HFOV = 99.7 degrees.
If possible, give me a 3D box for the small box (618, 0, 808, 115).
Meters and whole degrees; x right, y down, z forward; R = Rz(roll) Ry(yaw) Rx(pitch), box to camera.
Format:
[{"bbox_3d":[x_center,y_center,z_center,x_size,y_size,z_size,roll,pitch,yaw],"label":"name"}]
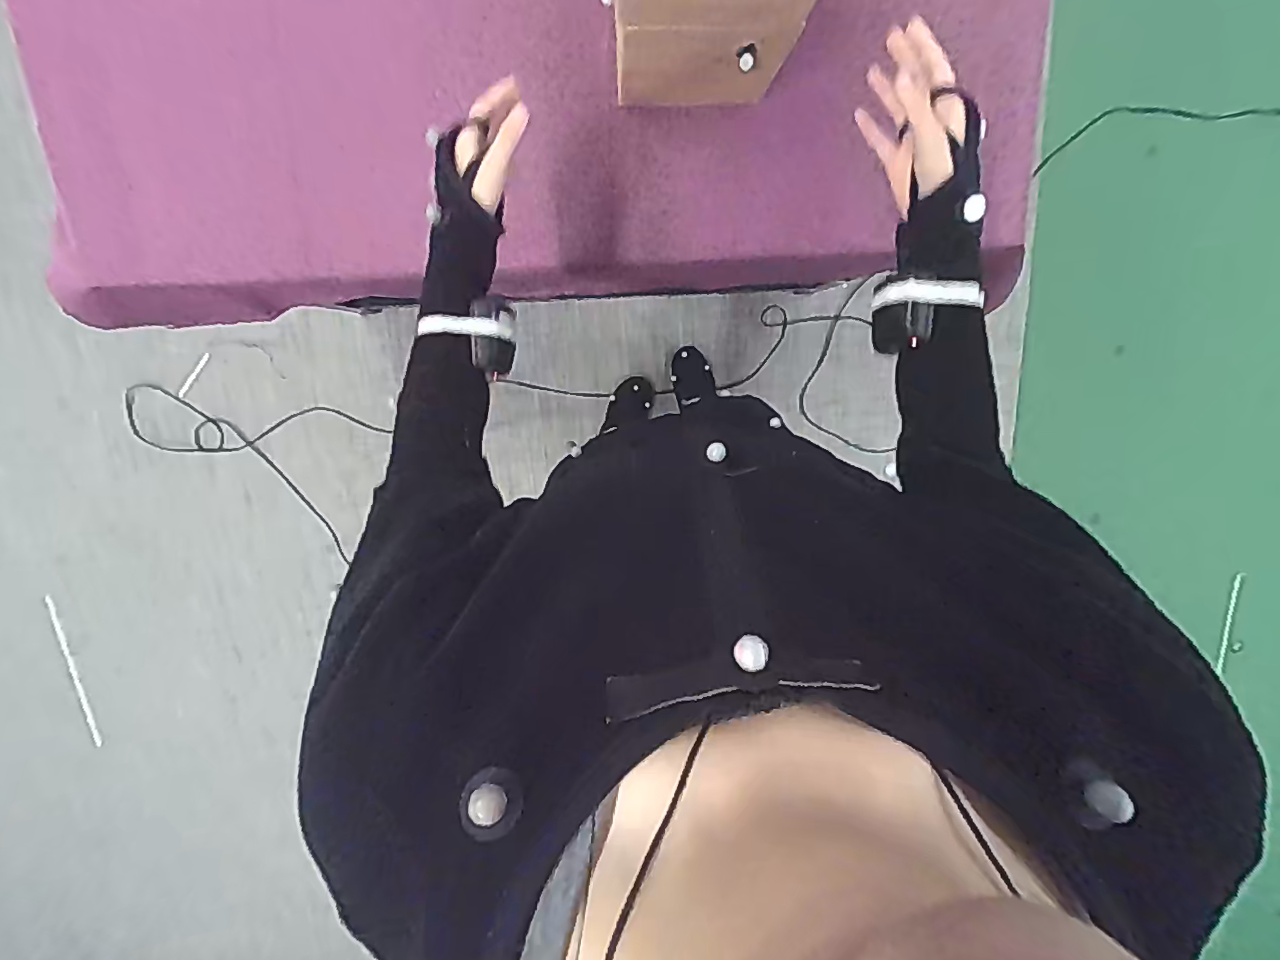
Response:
[{"bbox_3d":[0.067,-0.514,0.572,0.179,0.176,0.168,-2,102,-2],"label":"small box"}]
